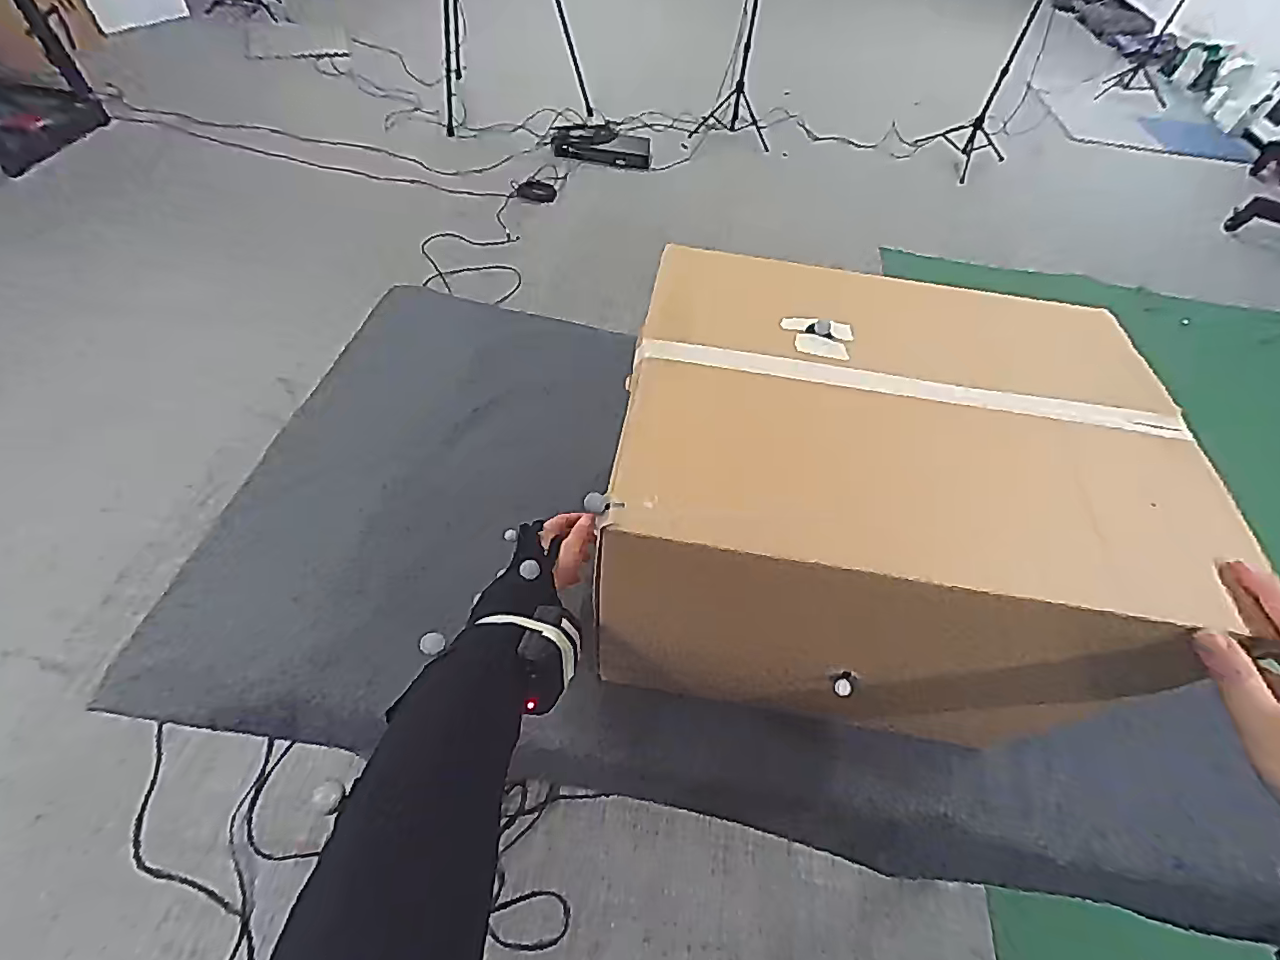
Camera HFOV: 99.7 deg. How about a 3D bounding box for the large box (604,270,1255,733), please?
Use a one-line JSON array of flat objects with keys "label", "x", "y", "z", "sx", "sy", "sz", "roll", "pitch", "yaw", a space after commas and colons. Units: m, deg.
[{"label": "large box", "x": 0.189, "y": 0.035, "z": 0.536, "sx": 0.408, "sy": 0.320, "sz": 0.320, "roll": 8, "pitch": 53, "yaw": 3}]
